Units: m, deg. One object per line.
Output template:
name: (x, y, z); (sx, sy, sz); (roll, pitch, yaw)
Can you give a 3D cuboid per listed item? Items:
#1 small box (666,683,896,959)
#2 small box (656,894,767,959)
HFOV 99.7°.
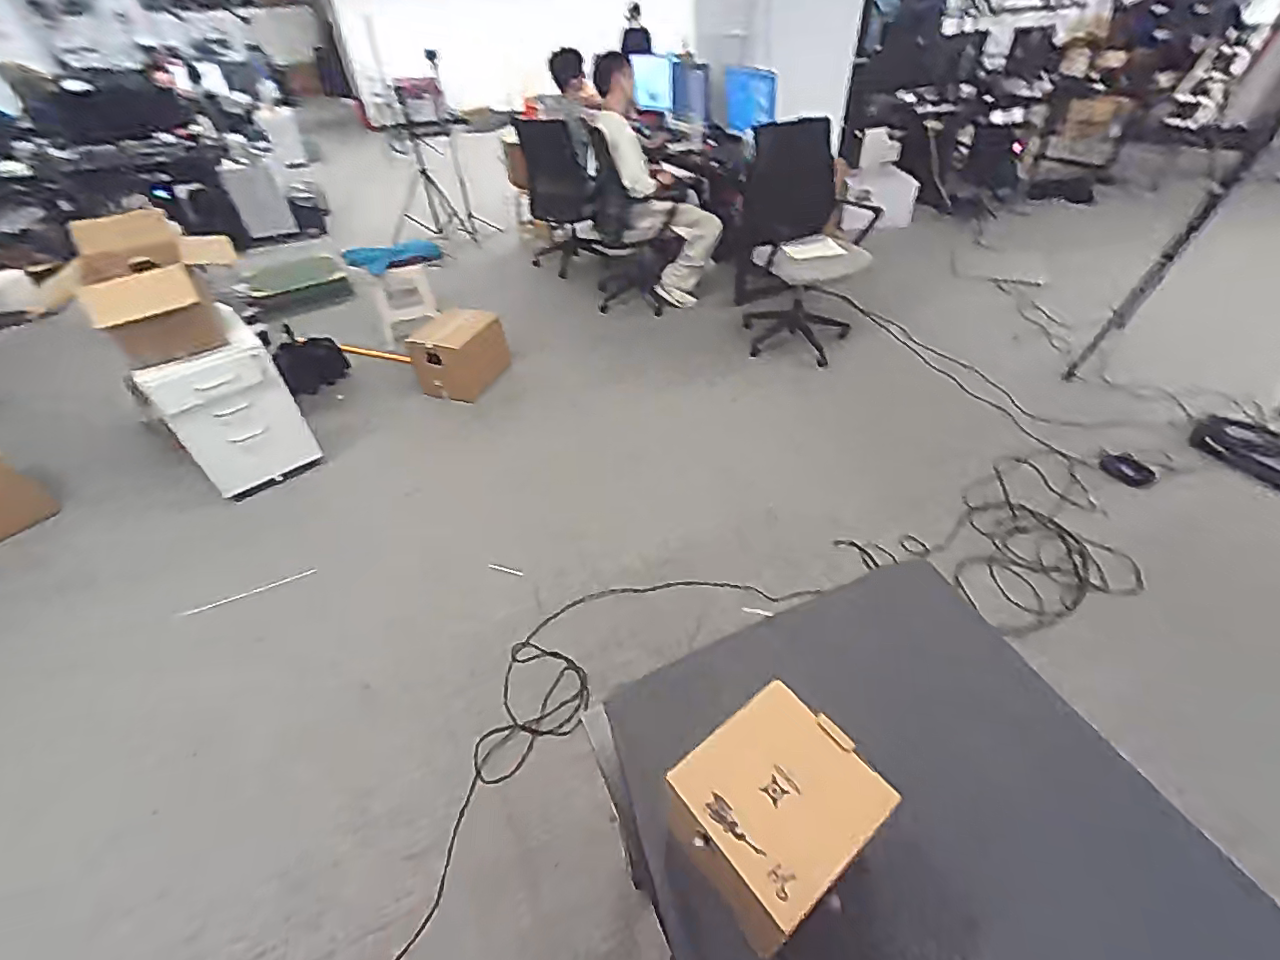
small box: (0.143, 0.373, 0.602); (0.179, 0.176, 0.168); (-28, 46, -25)
small box: (0.143, 0.943, 1.063); (0.179, 0.176, 0.168); (-15, 41, -14)
